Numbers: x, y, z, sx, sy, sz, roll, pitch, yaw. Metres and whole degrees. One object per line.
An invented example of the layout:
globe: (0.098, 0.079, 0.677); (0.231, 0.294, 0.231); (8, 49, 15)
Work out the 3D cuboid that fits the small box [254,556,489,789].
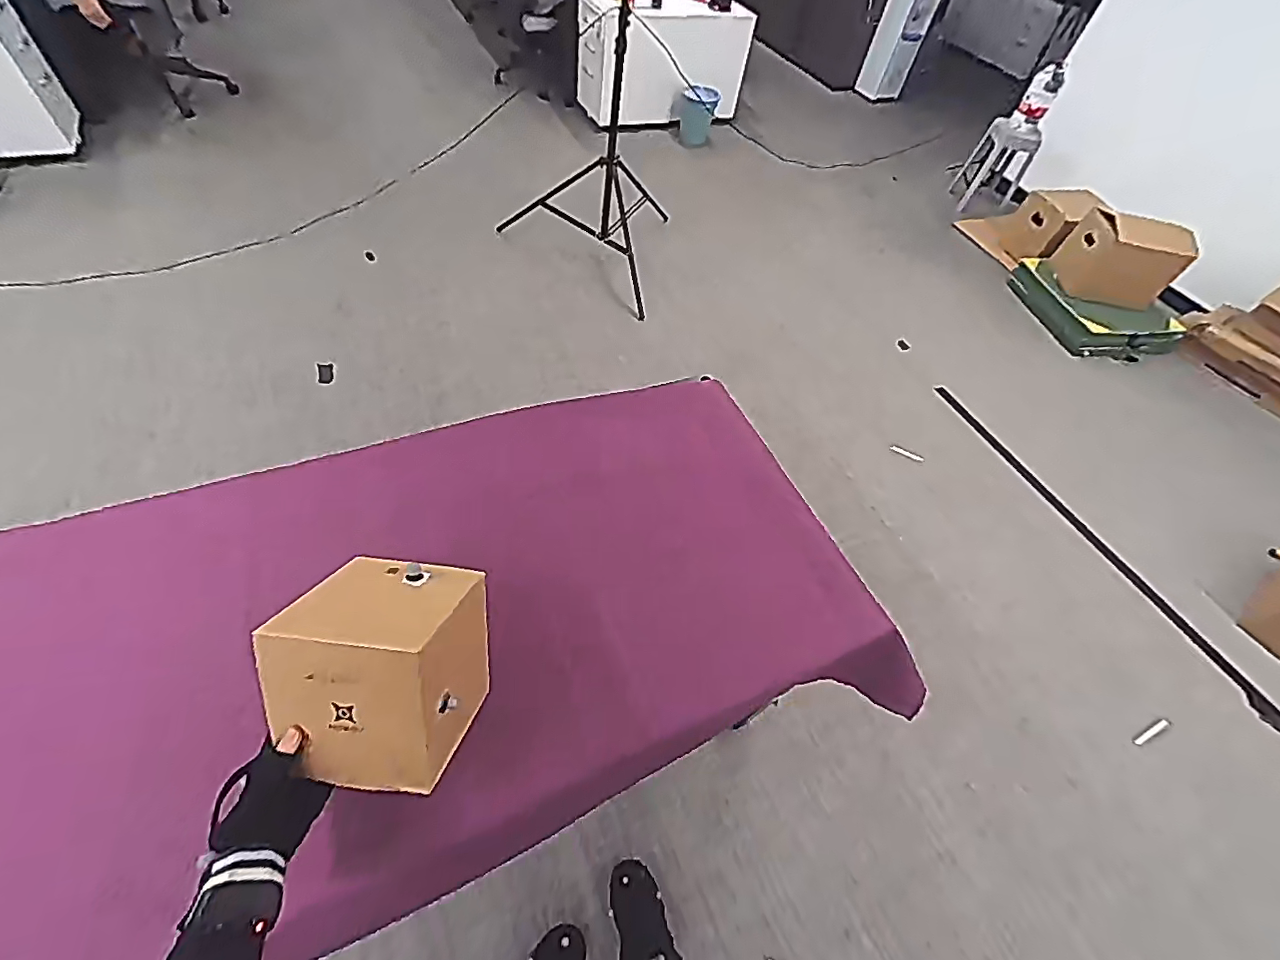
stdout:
small box: (-0.279, 0.204, 0.607); (0.168, 0.179, 0.176); (2, 17, 5)
